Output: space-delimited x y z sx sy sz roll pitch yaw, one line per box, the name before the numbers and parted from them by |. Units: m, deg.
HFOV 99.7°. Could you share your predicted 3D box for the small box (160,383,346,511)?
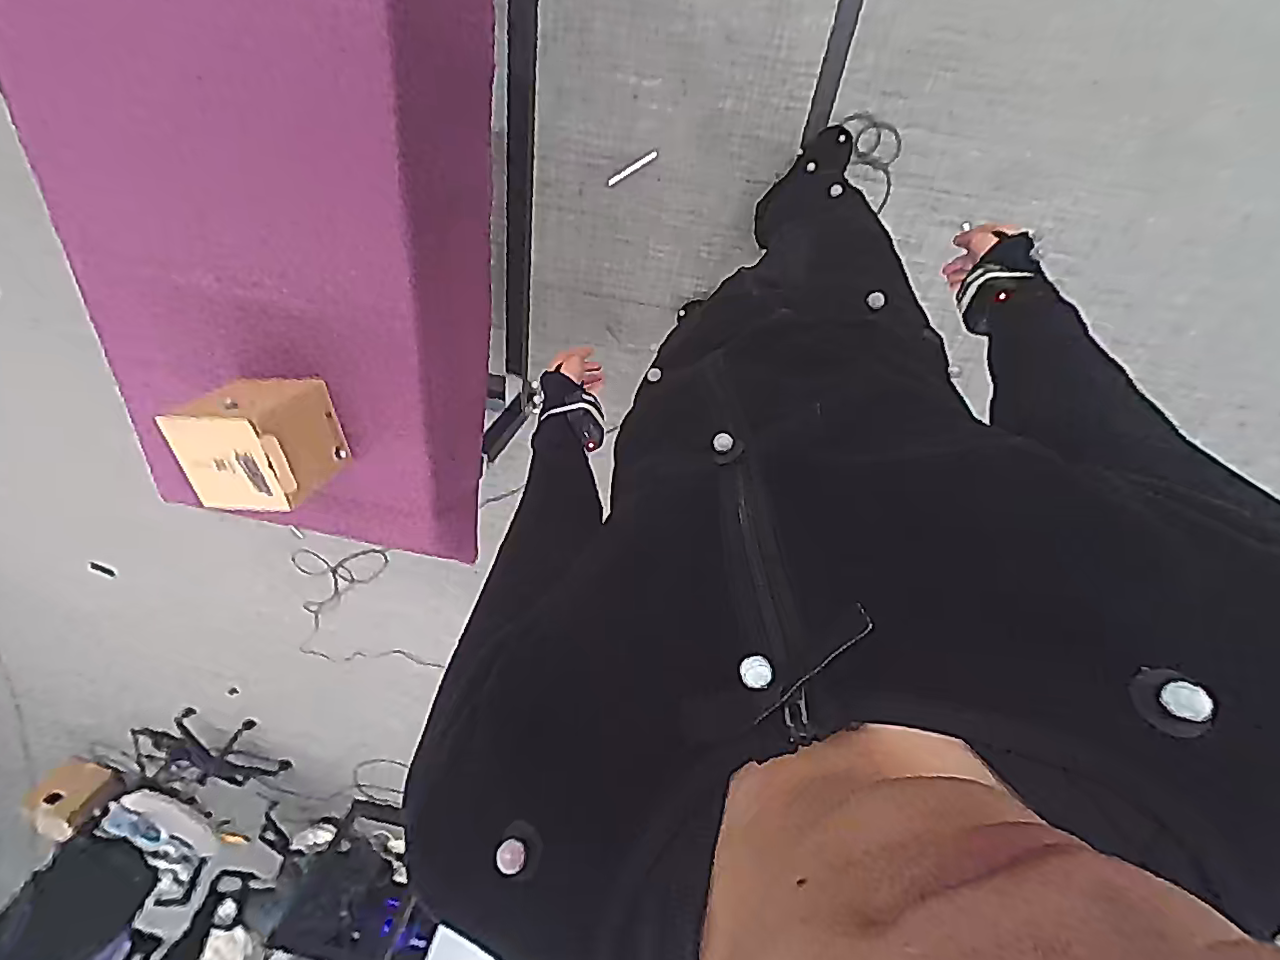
small box | -0.642 -0.062 0.928 0.179 0.176 0.168 1 120 10
